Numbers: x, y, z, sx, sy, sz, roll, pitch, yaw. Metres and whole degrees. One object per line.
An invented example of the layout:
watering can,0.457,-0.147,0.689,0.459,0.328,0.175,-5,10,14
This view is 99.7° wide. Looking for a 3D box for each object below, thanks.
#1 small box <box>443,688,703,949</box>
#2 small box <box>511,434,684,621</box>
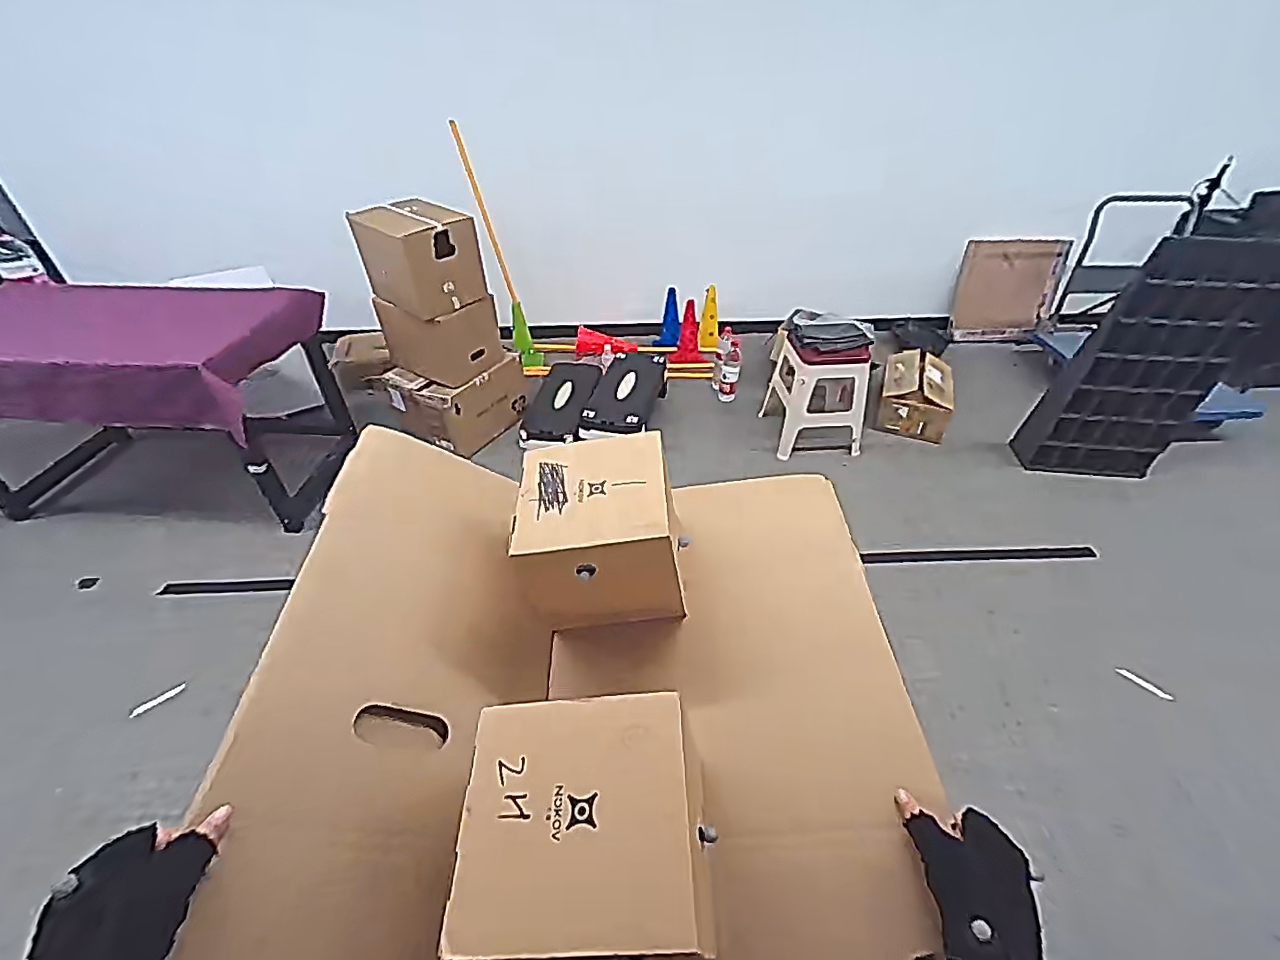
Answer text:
small box,-0.038,0.298,0.475,0.179,0.176,0.168,-7,46,7
small box,-0.045,0.066,0.692,0.179,0.176,0.168,-7,47,6
